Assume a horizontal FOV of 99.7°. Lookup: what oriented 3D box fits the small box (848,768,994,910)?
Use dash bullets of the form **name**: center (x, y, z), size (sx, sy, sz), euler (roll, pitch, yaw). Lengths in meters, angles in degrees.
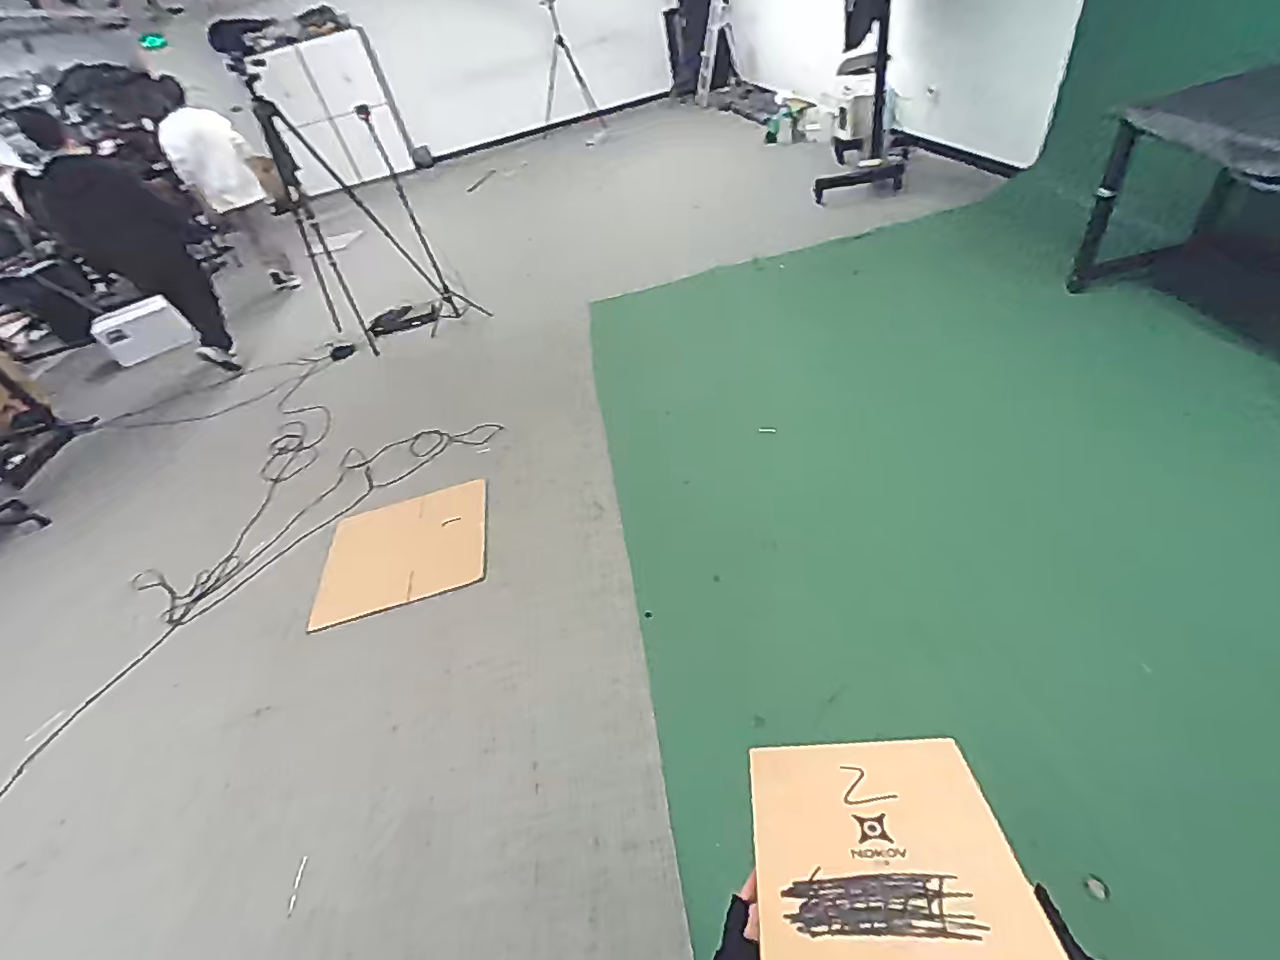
- **small box**: center (0.510, 0.672, 1.012), size (0.179, 0.176, 0.168), euler (-17, 42, 0)
